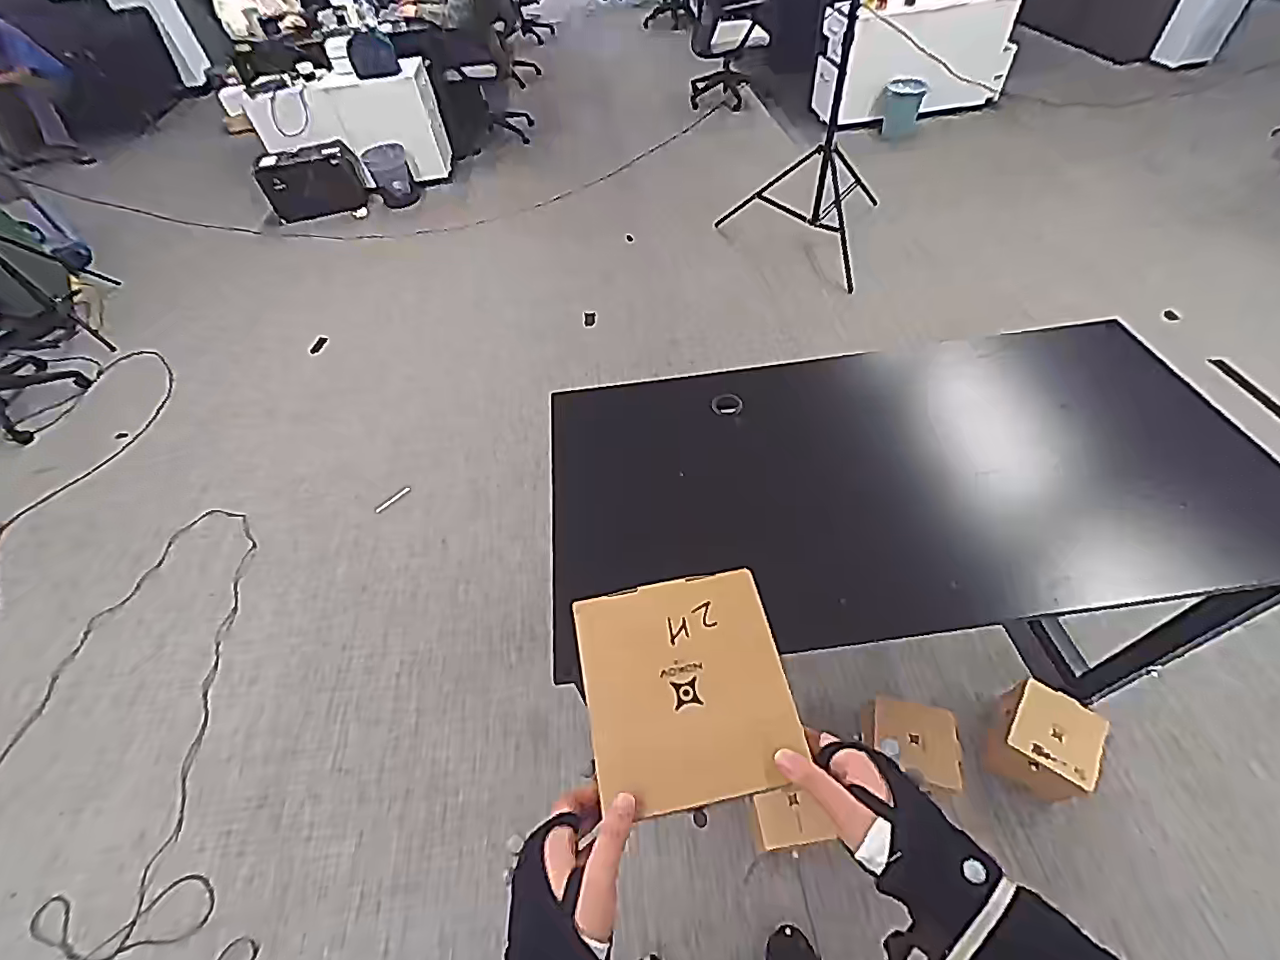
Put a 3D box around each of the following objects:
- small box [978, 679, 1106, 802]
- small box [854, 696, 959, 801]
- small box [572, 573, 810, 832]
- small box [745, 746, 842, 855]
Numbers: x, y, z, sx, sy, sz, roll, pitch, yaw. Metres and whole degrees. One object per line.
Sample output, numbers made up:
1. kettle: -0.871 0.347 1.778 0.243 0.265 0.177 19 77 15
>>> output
1. small box: 0.910 0.598 1.237 0.168 0.176 0.179 28 59 25
2. small box: 0.608 0.624 1.250 0.179 0.176 0.168 8 52 13
3. small box: 0.037 0.212 0.512 0.168 0.176 0.179 -11 58 -5
4. small box: 0.324 0.715 1.204 0.168 0.176 0.179 -9 53 -1
